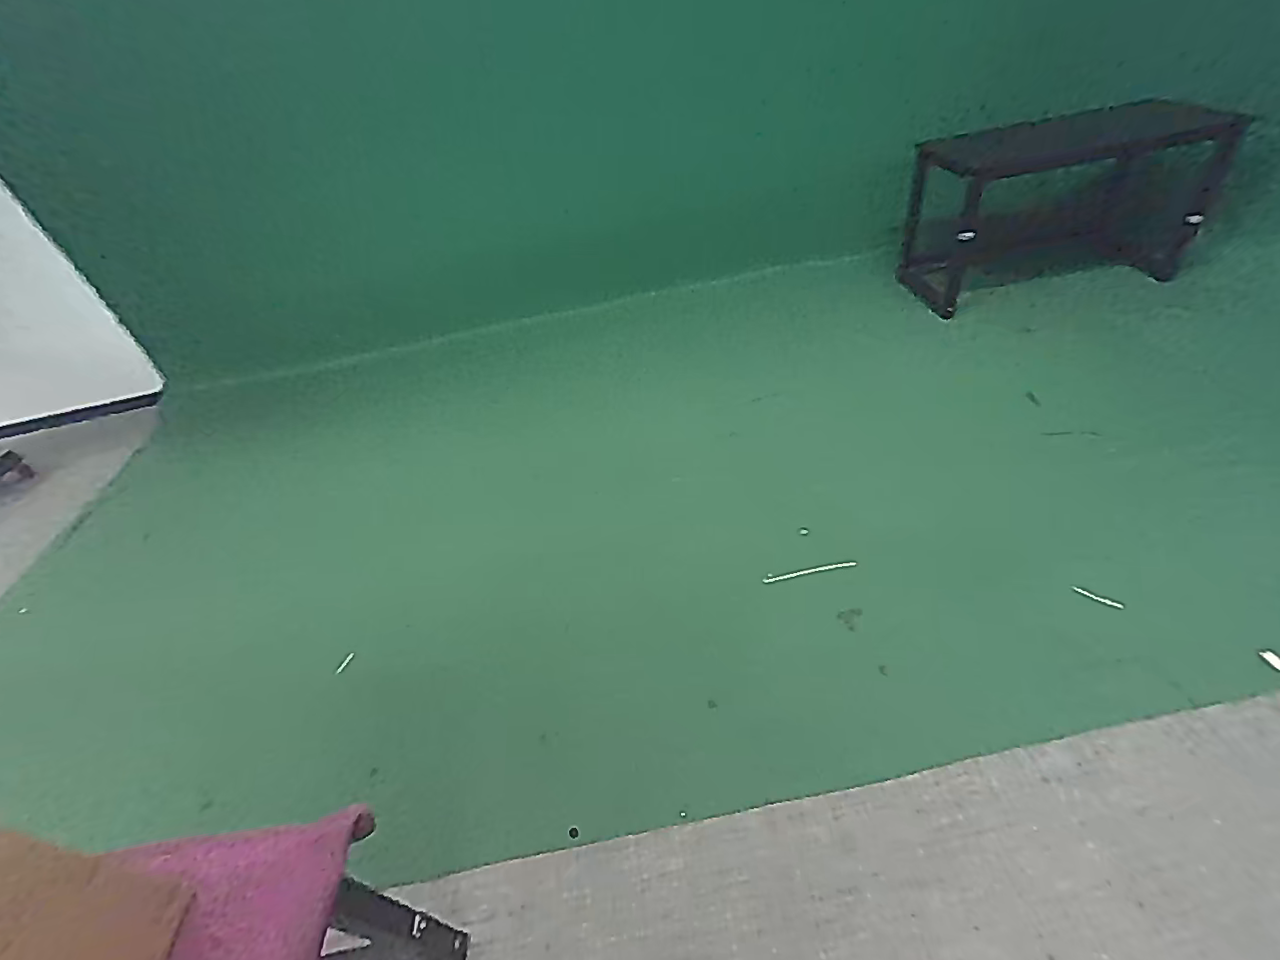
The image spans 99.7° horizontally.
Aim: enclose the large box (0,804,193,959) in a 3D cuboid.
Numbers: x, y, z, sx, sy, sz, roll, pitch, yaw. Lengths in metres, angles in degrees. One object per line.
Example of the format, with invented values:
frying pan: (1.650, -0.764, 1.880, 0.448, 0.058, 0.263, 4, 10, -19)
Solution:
large box: (-0.798, 0.570, 0.526, 0.408, 0.320, 0.320, -11, 43, -1)
